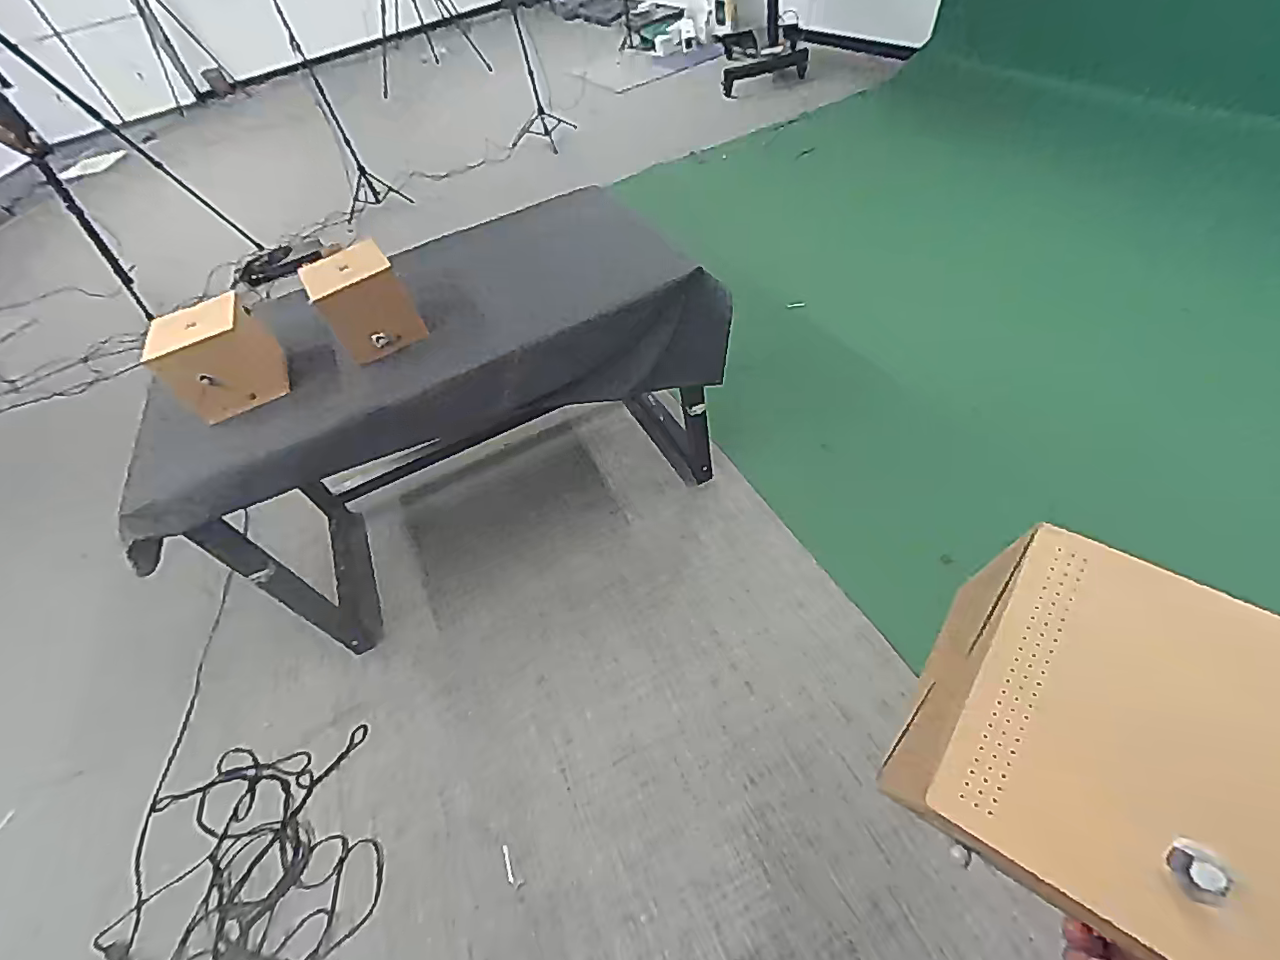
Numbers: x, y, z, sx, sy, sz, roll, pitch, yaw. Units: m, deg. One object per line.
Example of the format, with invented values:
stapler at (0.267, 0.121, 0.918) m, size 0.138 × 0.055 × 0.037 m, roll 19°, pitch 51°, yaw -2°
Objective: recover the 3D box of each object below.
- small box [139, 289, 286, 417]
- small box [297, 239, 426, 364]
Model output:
small box at (-0.852, -0.249, 1.097) m, size 0.168 × 0.176 × 0.179 m, roll -27°, pitch 49°, yaw -11°
small box at (-0.588, -0.378, 1.151) m, size 0.168 × 0.176 × 0.179 m, roll -33°, pitch 52°, yaw -14°
